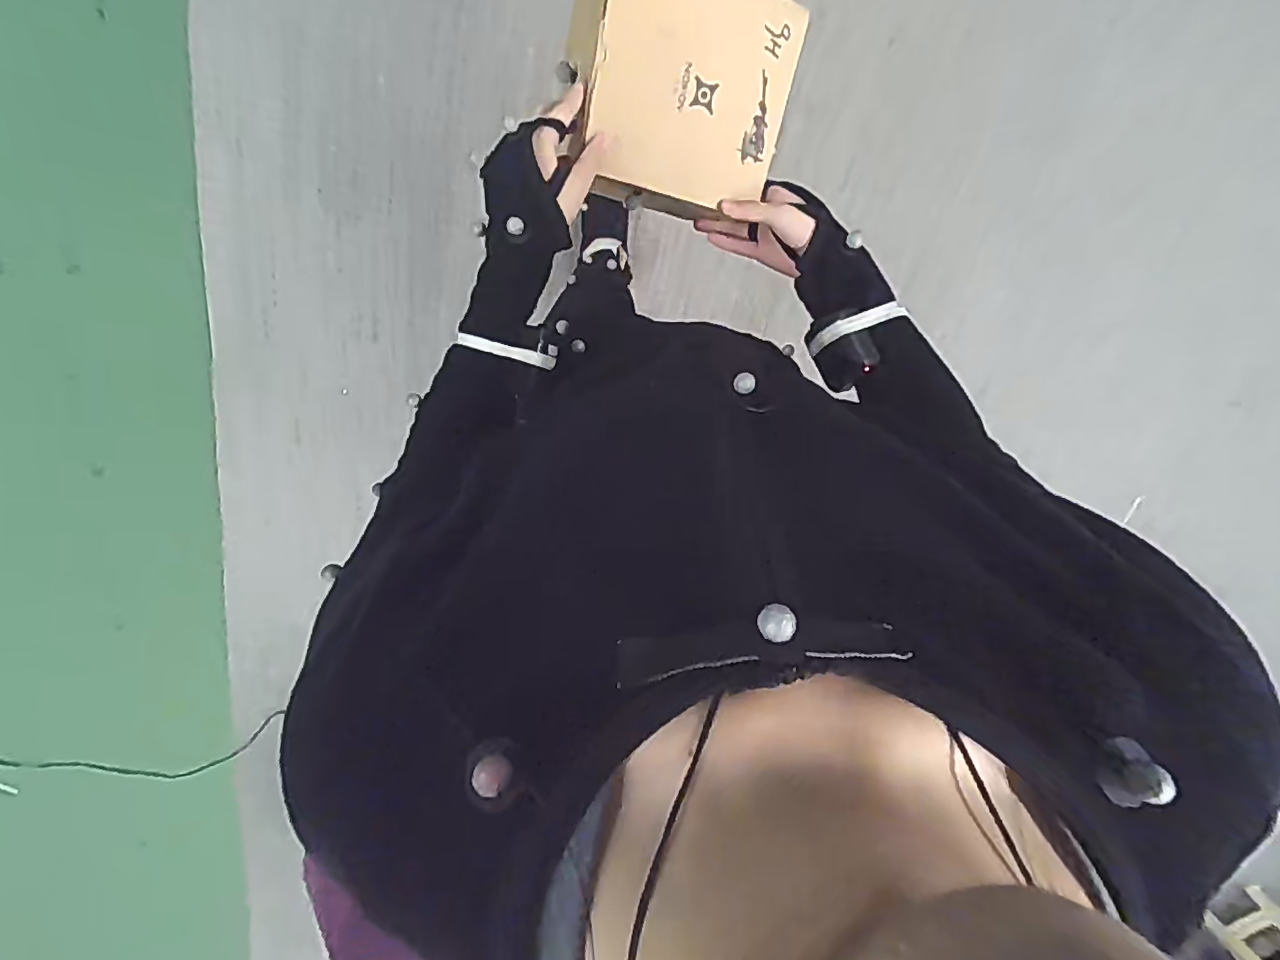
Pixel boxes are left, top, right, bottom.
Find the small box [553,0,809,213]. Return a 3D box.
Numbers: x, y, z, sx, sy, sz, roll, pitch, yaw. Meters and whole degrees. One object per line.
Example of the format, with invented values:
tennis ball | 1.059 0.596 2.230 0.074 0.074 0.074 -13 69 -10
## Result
small box | 0.021 -0.363 0.517 0.179 0.176 0.168 7 113 -20
